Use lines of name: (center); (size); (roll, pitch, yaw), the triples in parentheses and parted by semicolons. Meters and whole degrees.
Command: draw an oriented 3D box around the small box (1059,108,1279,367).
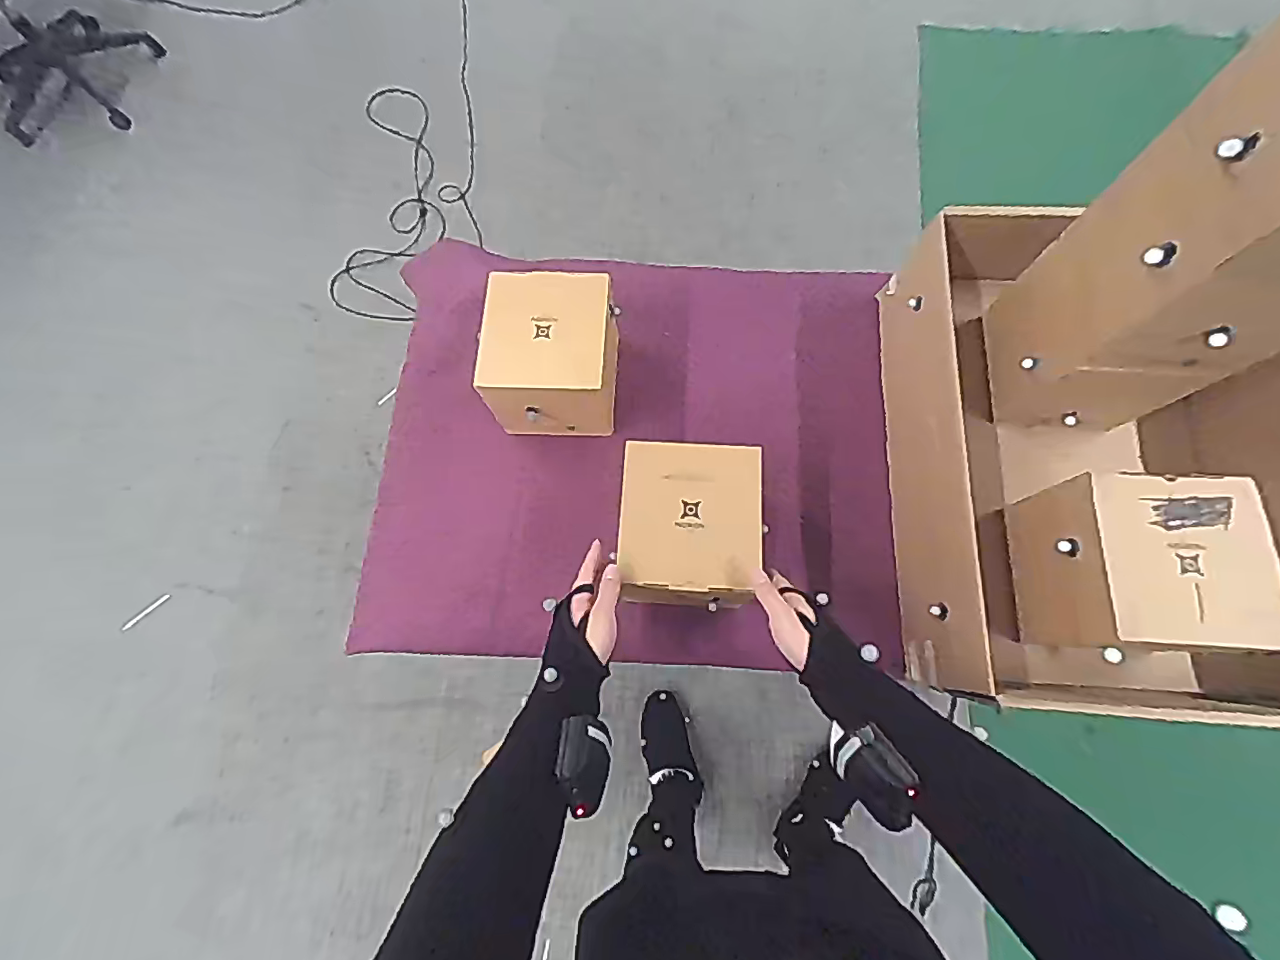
small box: (0.569, -0.230, 0.545); (0.168, 0.176, 0.179); (5, 74, 4)

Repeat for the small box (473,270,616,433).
small box: (-0.125, -0.177, 0.782); (0.168, 0.176, 0.179); (1, 72, 3)

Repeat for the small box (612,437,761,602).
small box: (0.059, 0.060, 0.700); (0.168, 0.176, 0.179); (4, 71, 3)

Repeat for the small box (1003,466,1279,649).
small box: (0.550, 0.096, 0.618); (0.168, 0.176, 0.179); (2, 73, 5)
